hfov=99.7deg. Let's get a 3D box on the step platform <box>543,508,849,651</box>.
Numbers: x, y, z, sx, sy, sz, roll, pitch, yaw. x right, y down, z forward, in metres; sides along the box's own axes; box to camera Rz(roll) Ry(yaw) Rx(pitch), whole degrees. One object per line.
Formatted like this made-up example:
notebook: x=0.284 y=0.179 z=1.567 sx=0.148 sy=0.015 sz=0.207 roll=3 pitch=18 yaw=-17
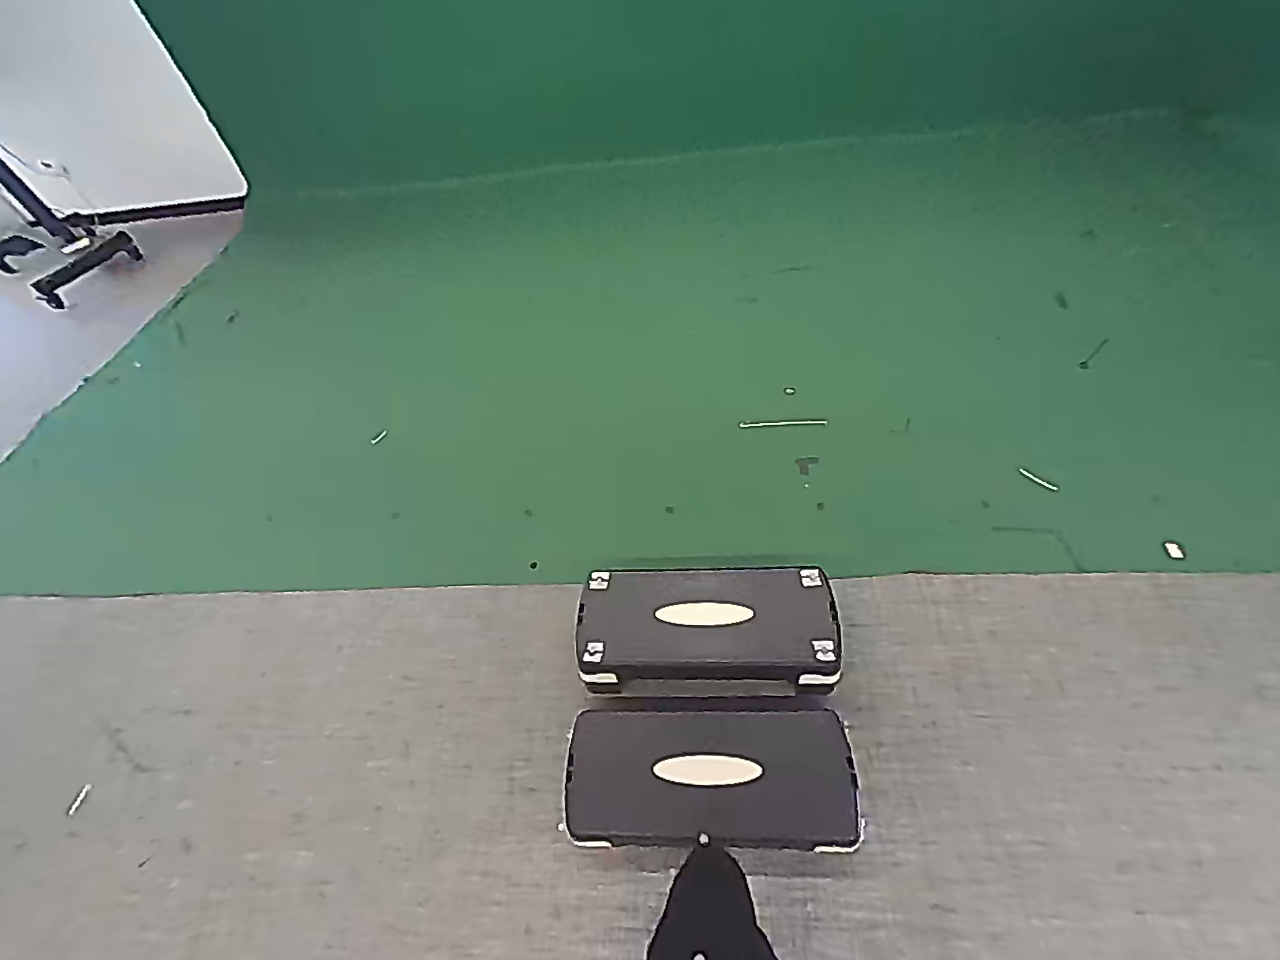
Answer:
step platform: x=0.125 y=0.246 z=1.305 sx=0.684 sy=0.204 sz=0.286 roll=-3 pitch=51 yaw=7
